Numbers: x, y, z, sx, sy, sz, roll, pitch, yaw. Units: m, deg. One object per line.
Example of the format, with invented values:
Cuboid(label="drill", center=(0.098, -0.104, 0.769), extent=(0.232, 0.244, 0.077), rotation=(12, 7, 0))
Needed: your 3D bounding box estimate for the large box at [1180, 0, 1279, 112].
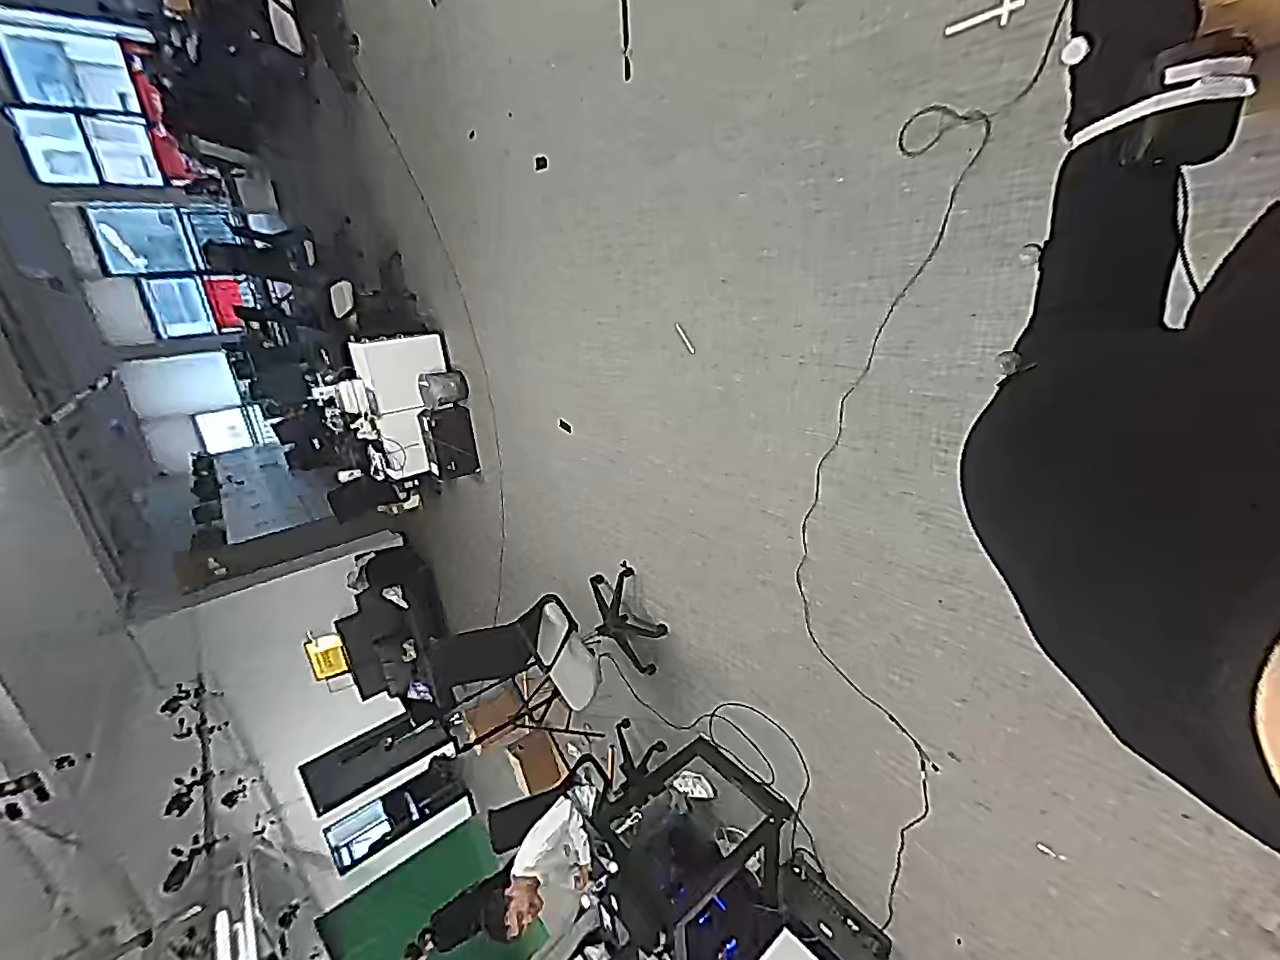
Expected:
Cuboid(label="large box", center=(0.589, -0.448, 0.273), extent=(0.408, 0.320, 0.320), rotation=(13, 117, 48))
